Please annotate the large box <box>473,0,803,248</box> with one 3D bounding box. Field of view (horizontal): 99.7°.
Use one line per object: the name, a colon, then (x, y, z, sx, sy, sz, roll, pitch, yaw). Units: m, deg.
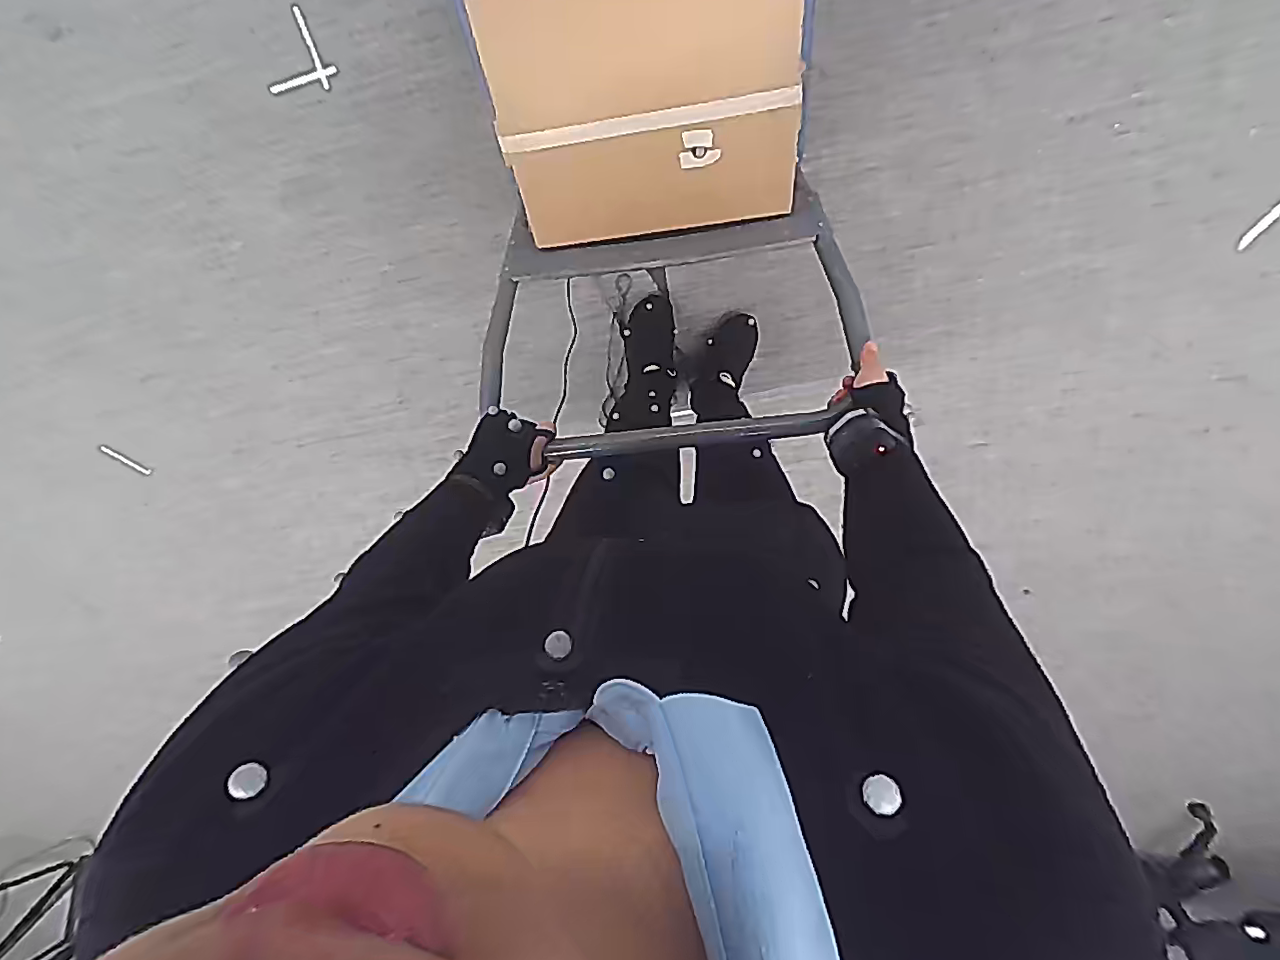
large box: (0.010, -0.609, 0.839, 0.408, 0.320, 0.320, -7, 139, 6)
